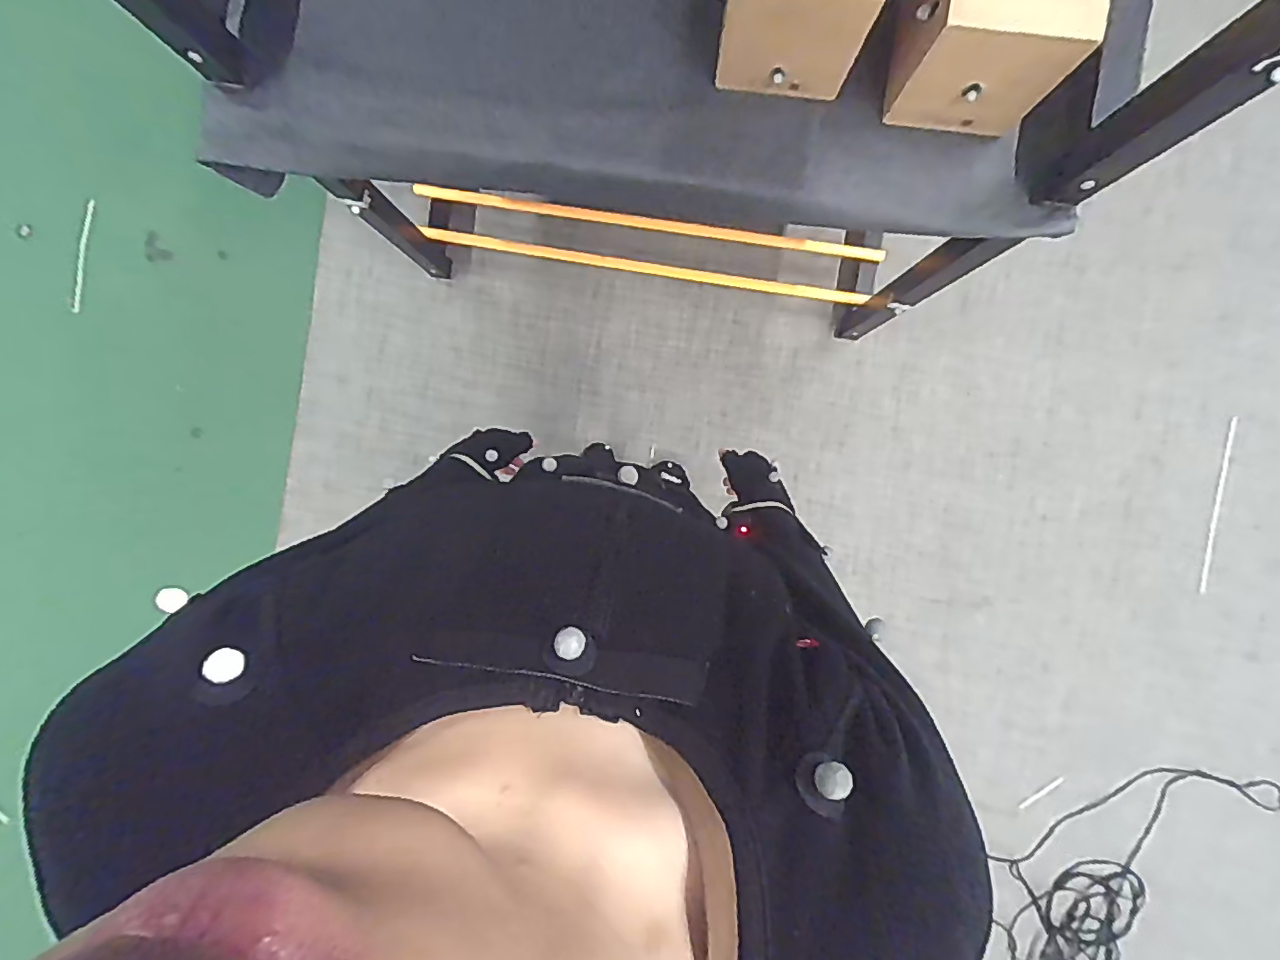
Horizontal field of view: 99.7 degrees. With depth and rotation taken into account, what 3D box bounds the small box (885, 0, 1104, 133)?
[{"bbox_3d":[0.416,-0.558,0.651,0.168,0.176,0.179,7,90,1],"label":"small box"}]
